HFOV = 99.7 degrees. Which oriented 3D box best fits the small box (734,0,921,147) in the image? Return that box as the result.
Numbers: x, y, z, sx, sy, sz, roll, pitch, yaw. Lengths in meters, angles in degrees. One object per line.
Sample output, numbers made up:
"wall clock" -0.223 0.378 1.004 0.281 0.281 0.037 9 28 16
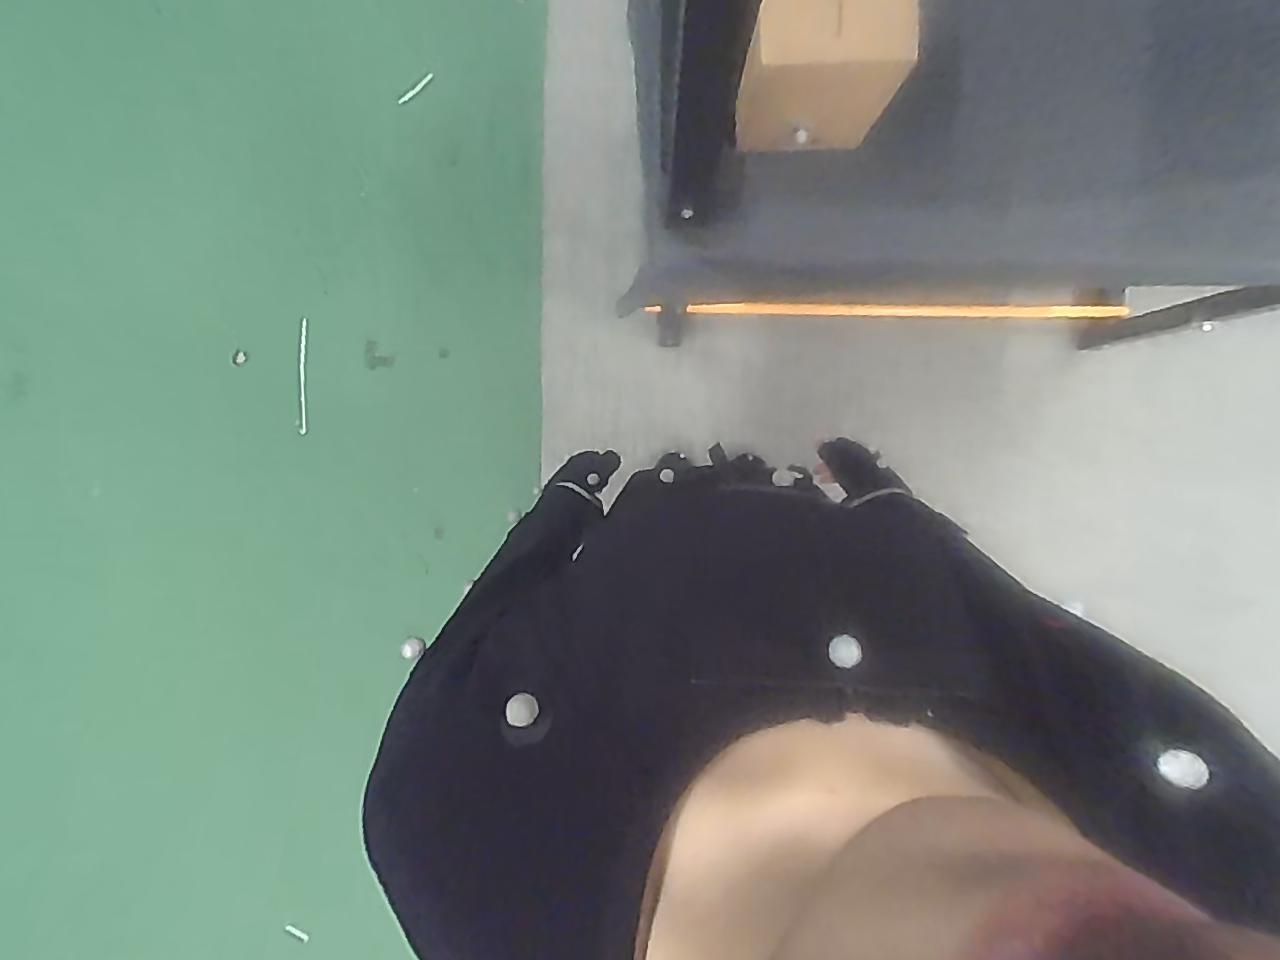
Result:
"small box" 0.204 -0.524 0.628 0.168 0.176 0.179 -2 93 1
